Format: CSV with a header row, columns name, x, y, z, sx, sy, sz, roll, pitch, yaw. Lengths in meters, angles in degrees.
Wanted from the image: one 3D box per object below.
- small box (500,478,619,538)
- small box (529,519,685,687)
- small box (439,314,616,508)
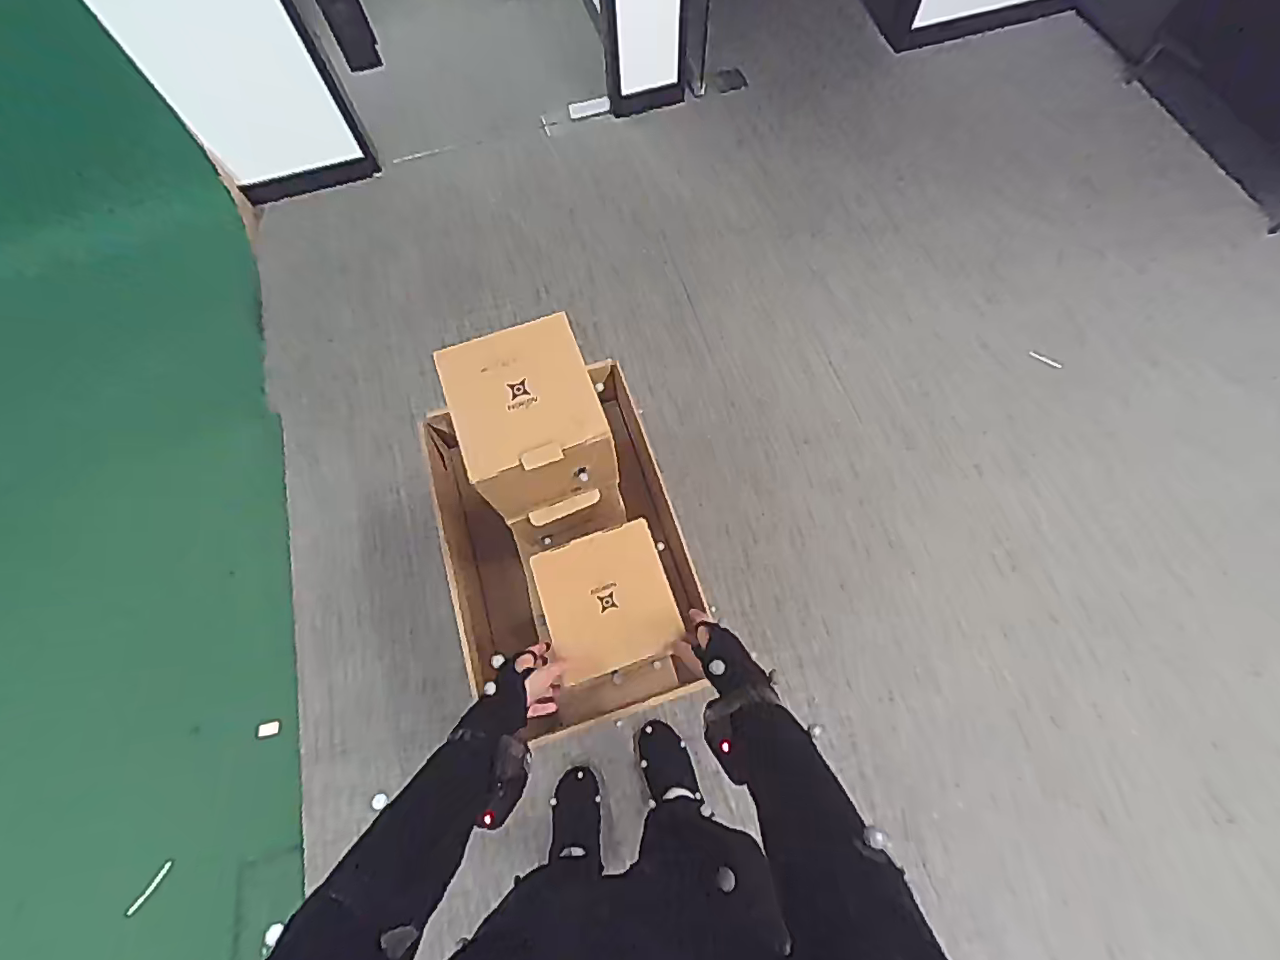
name,x,y,z,sx,sy,sz,roll,pitch,yaw
small box,-0.139,-0.021,0.851,0.168,0.176,0.179,-22,72,-7
small box,-0.042,0.180,0.772,0.168,0.176,0.179,-18,69,-6
small box,-0.133,-0.075,0.698,0.168,0.176,0.179,-19,72,-6
